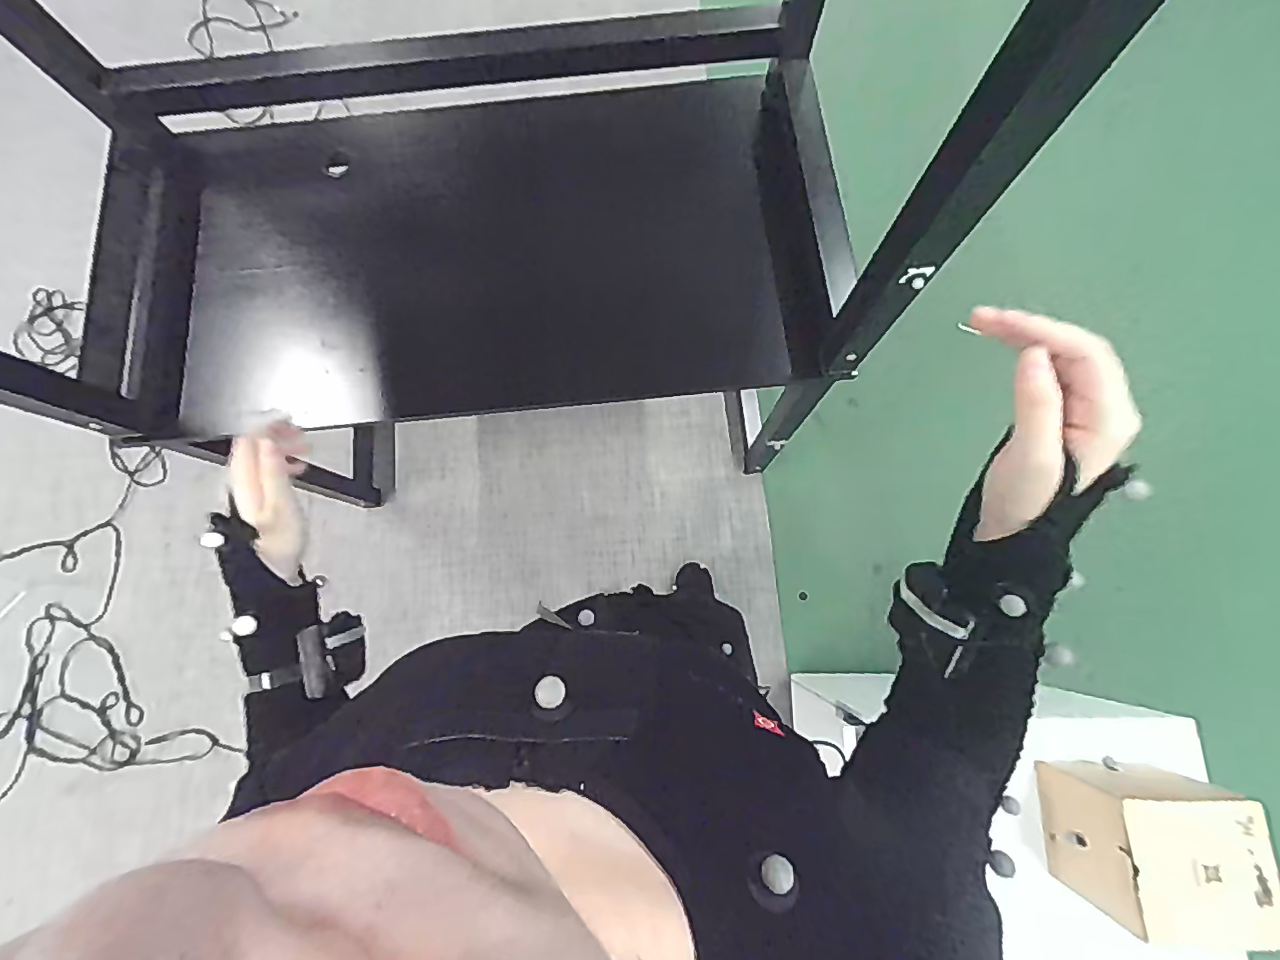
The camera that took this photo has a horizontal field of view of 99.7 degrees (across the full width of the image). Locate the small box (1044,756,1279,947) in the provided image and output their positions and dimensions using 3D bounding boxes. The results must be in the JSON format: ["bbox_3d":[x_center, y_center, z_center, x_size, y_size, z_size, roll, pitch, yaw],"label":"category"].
[{"bbox_3d":[0.698,0.495,0.745,0.179,0.176,0.168,0,79,3],"label":"small box"}]
